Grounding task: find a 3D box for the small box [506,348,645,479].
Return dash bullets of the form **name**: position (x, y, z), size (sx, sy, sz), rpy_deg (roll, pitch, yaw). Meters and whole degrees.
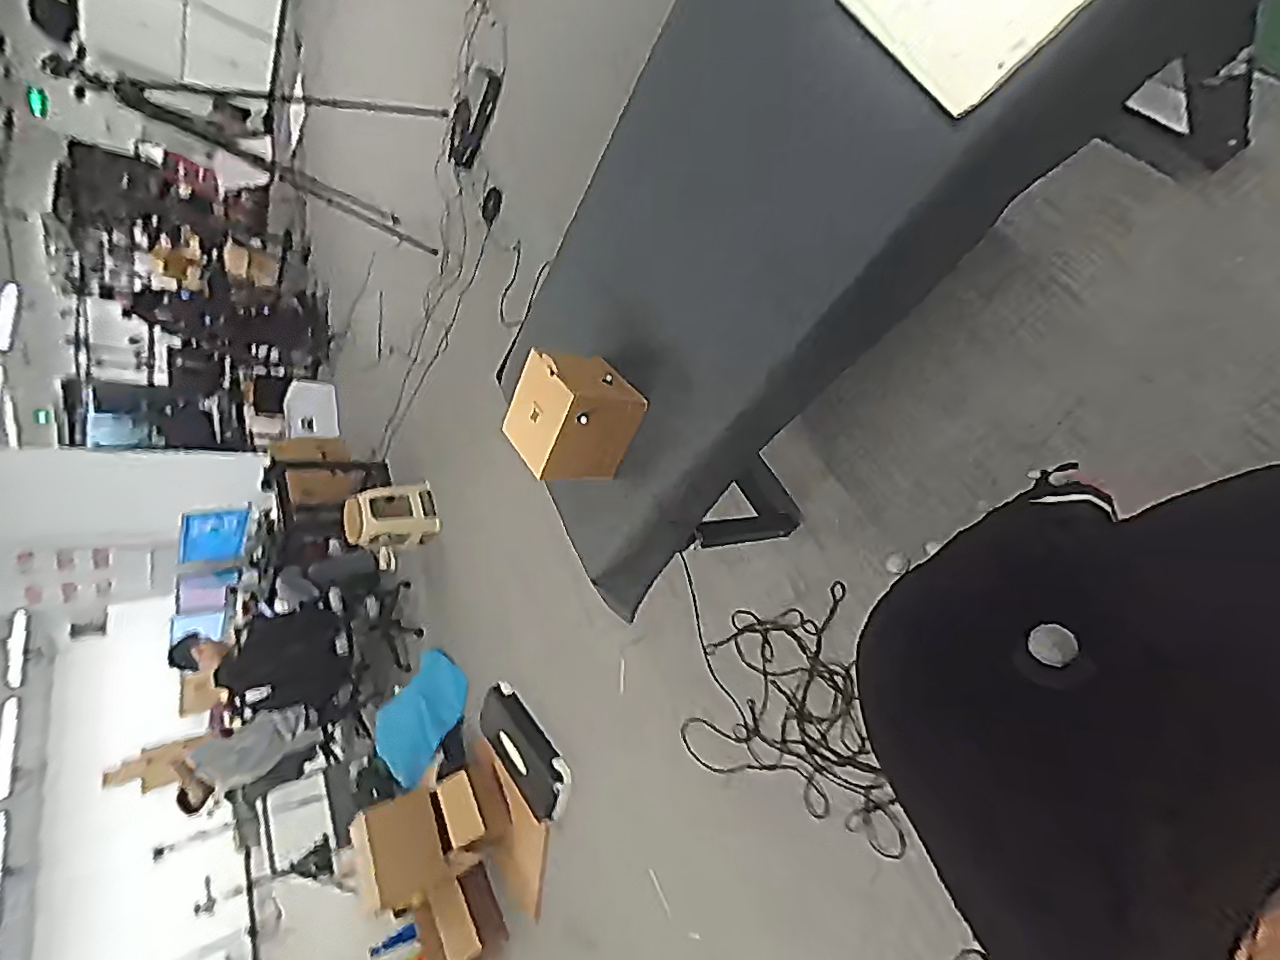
- **small box**: position (-0.118, -0.116, 0.995), size (0.168, 0.176, 0.179), rpy_deg (48, 123, 36)
